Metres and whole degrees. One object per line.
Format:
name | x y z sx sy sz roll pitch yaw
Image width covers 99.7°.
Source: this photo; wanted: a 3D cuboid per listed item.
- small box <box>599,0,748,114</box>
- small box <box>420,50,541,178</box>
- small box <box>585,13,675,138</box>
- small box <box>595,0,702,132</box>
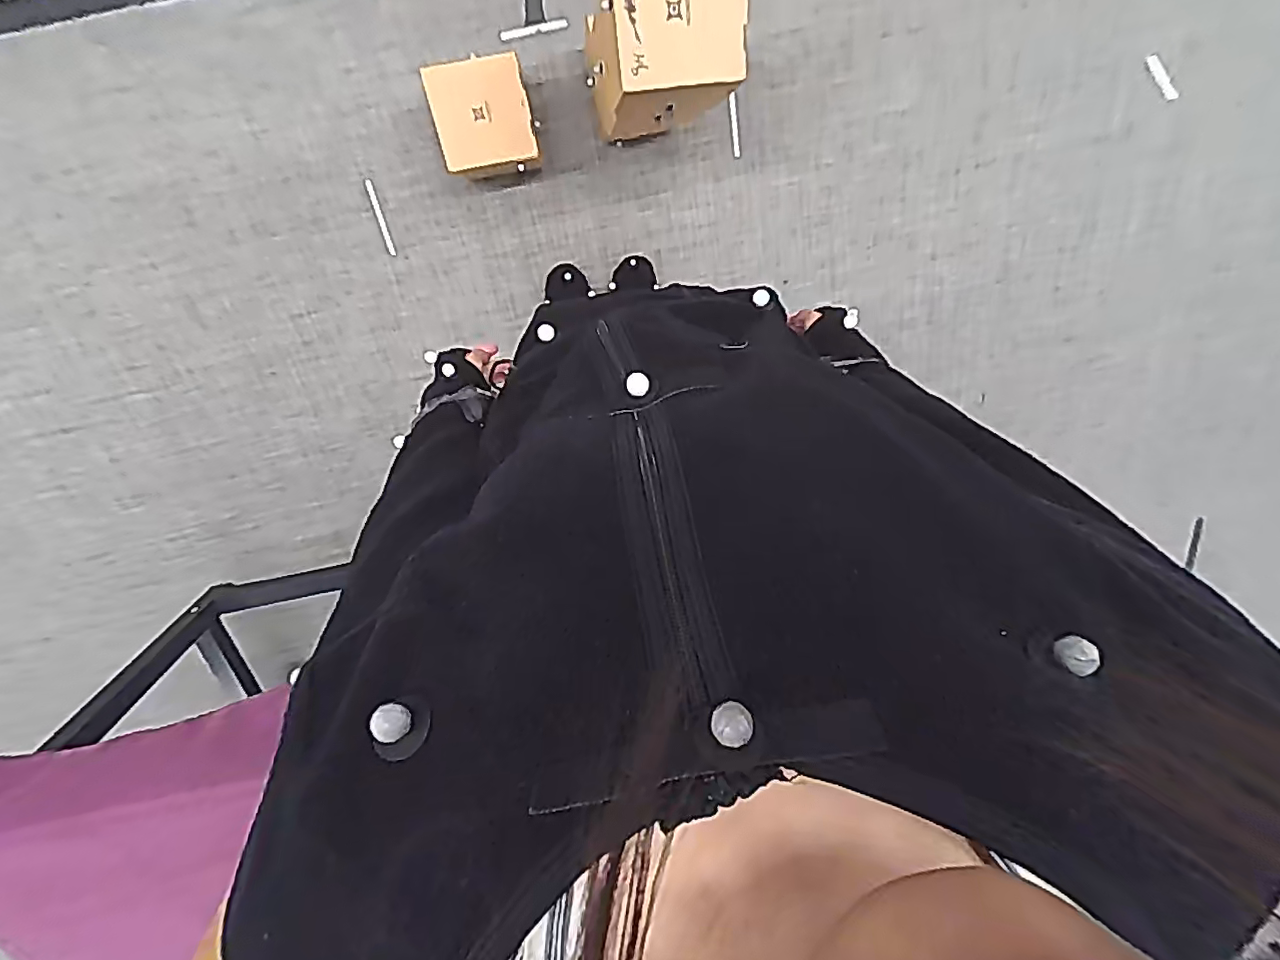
small box | 0.043 -0.640 0.771 0.179 0.176 0.168 -9 115 -6
small box | -0.300 -0.703 1.058 0.179 0.176 0.168 -13 115 -3
small box | -0.009 -0.790 1.060 0.168 0.176 0.179 -13 114 -3
small box | 0.021 -0.709 0.918 0.179 0.176 0.168 -12 116 -4
